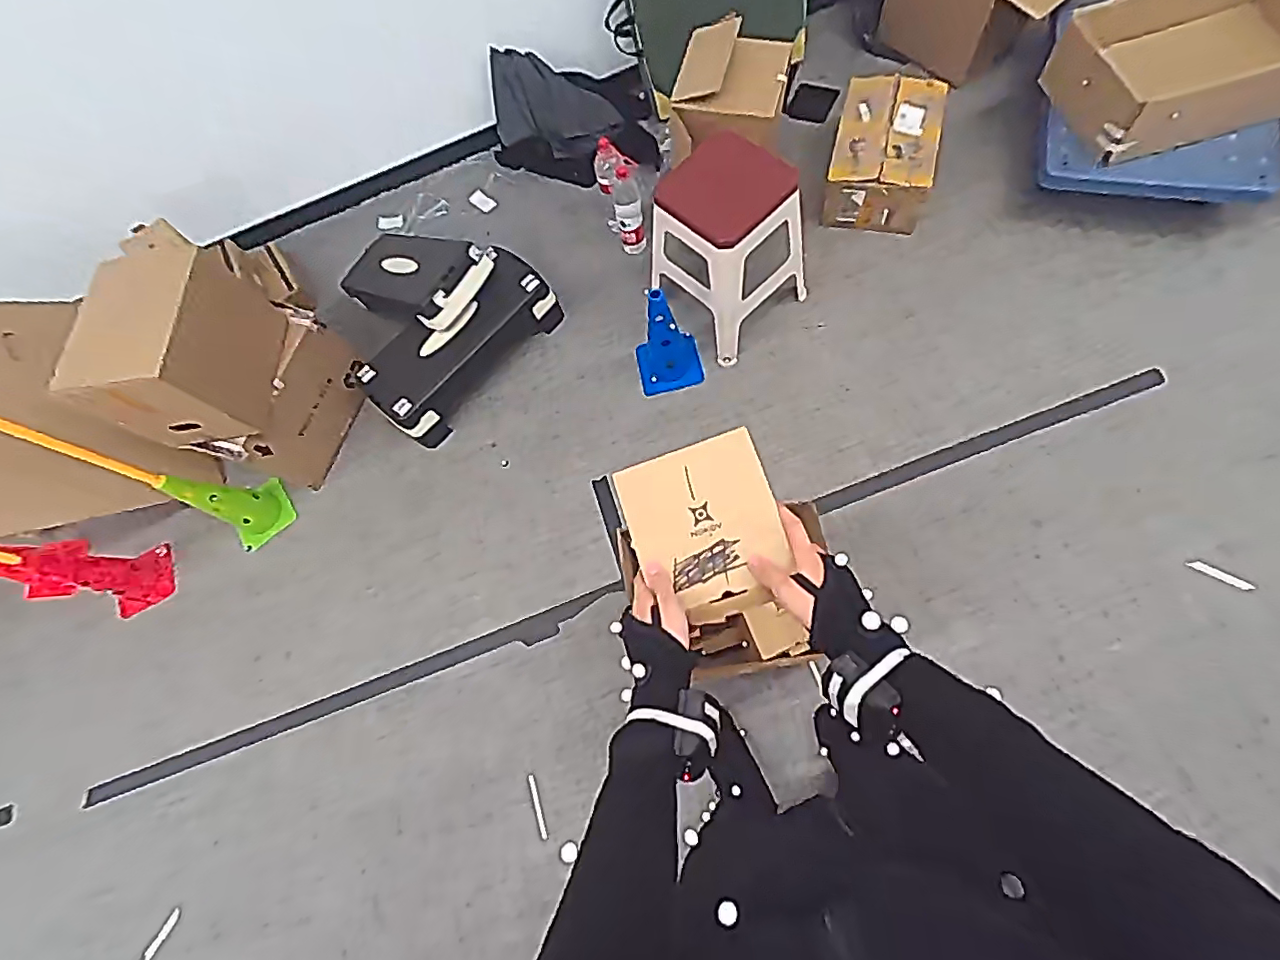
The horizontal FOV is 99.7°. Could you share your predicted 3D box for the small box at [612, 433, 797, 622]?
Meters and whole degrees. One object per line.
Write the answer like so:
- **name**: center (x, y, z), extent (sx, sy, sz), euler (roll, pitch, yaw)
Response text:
- **small box**: center (0.082, 0.065, 0.677), extent (0.168, 0.176, 0.179), euler (-19, 76, 6)
